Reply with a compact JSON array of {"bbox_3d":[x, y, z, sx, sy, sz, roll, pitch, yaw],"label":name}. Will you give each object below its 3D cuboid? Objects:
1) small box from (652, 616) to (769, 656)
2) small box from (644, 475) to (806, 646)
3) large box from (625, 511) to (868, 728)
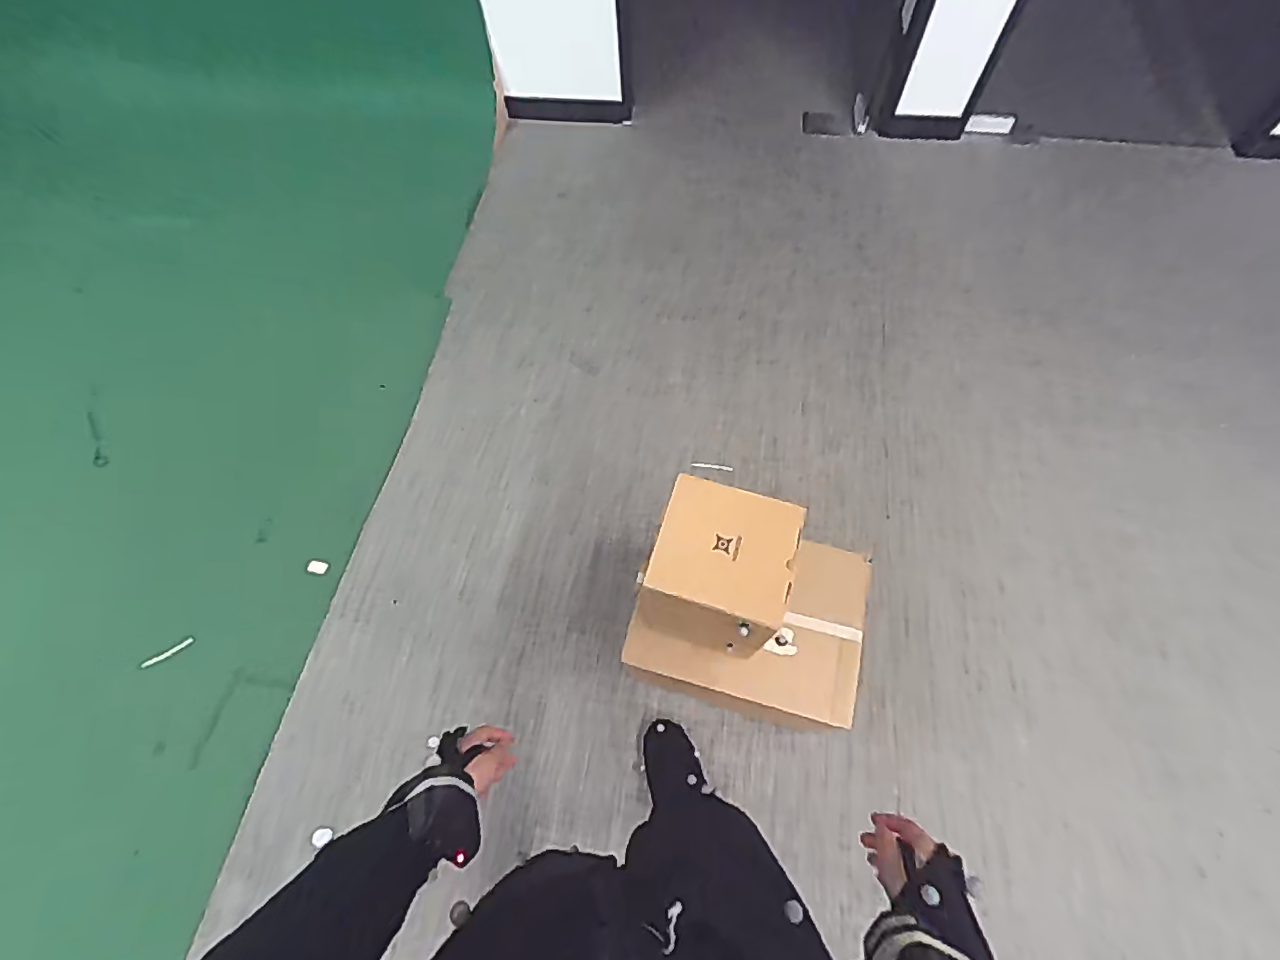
[{"bbox_3d":[0.125,0.186,0.902,0.179,0.176,0.168,13,64,9],"label":"small box"},{"bbox_3d":[0.112,0.119,0.754,0.179,0.176,0.168,15,65,8],"label":"small box"},{"bbox_3d":[0.202,0.295,1.116,0.408,0.320,0.320,14,67,7],"label":"large box"}]
